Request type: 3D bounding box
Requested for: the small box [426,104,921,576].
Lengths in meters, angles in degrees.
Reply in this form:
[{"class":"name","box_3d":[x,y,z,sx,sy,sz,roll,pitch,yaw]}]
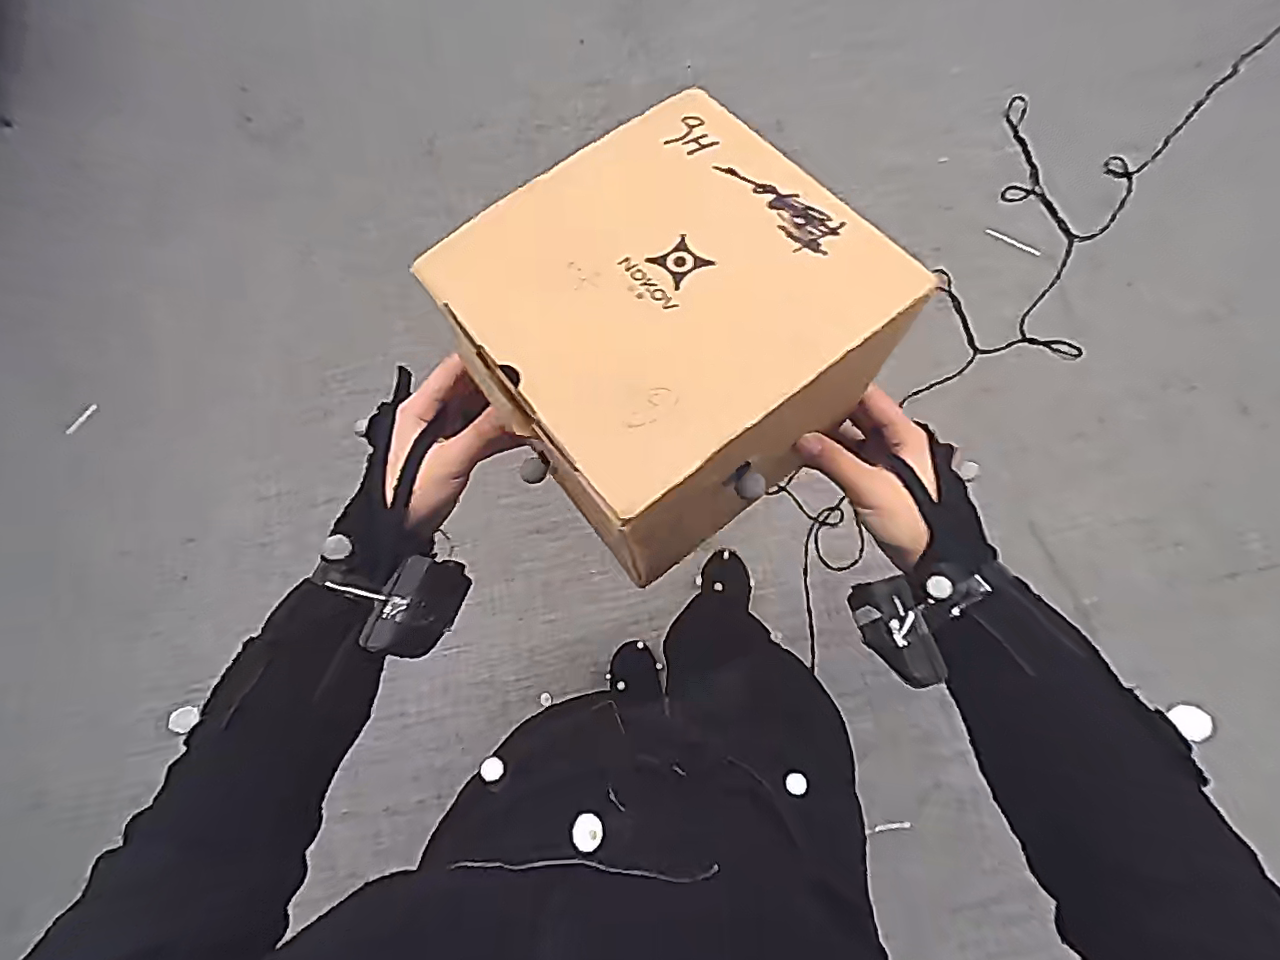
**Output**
[{"class":"small box","box_3d":[0.016,-0.063,0.325,0.179,0.176,0.168,-37,73,-9]}]
